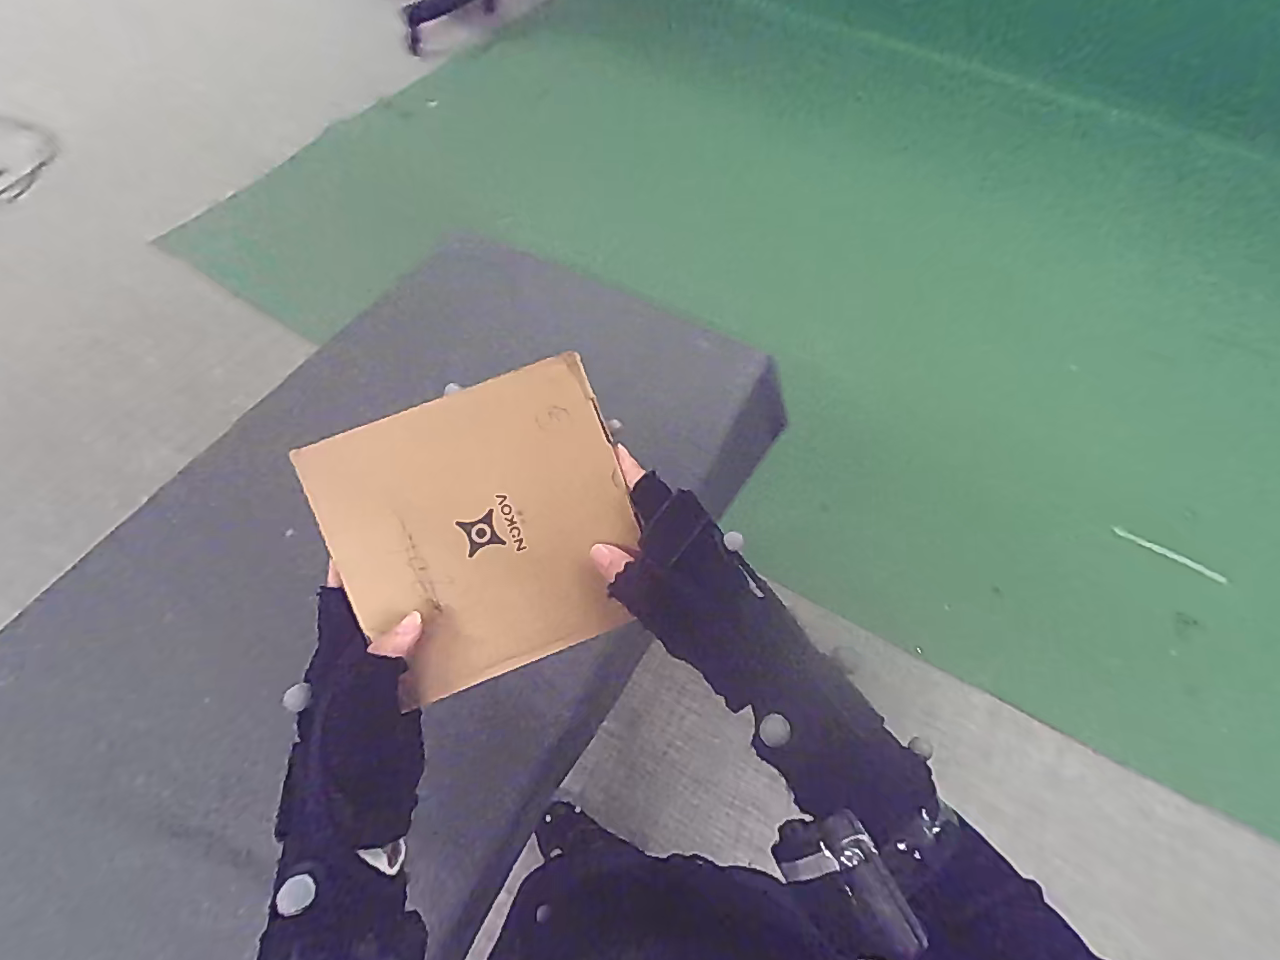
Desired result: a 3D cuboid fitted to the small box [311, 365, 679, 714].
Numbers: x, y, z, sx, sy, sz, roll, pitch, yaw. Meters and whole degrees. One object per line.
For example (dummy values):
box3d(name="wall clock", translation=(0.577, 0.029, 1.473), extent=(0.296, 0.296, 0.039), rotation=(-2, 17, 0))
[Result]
box3d(name="small box", translation=(-0.088, 0.031, 0.400), extent=(0.179, 0.176, 0.168), rotation=(-21, 92, -2))
